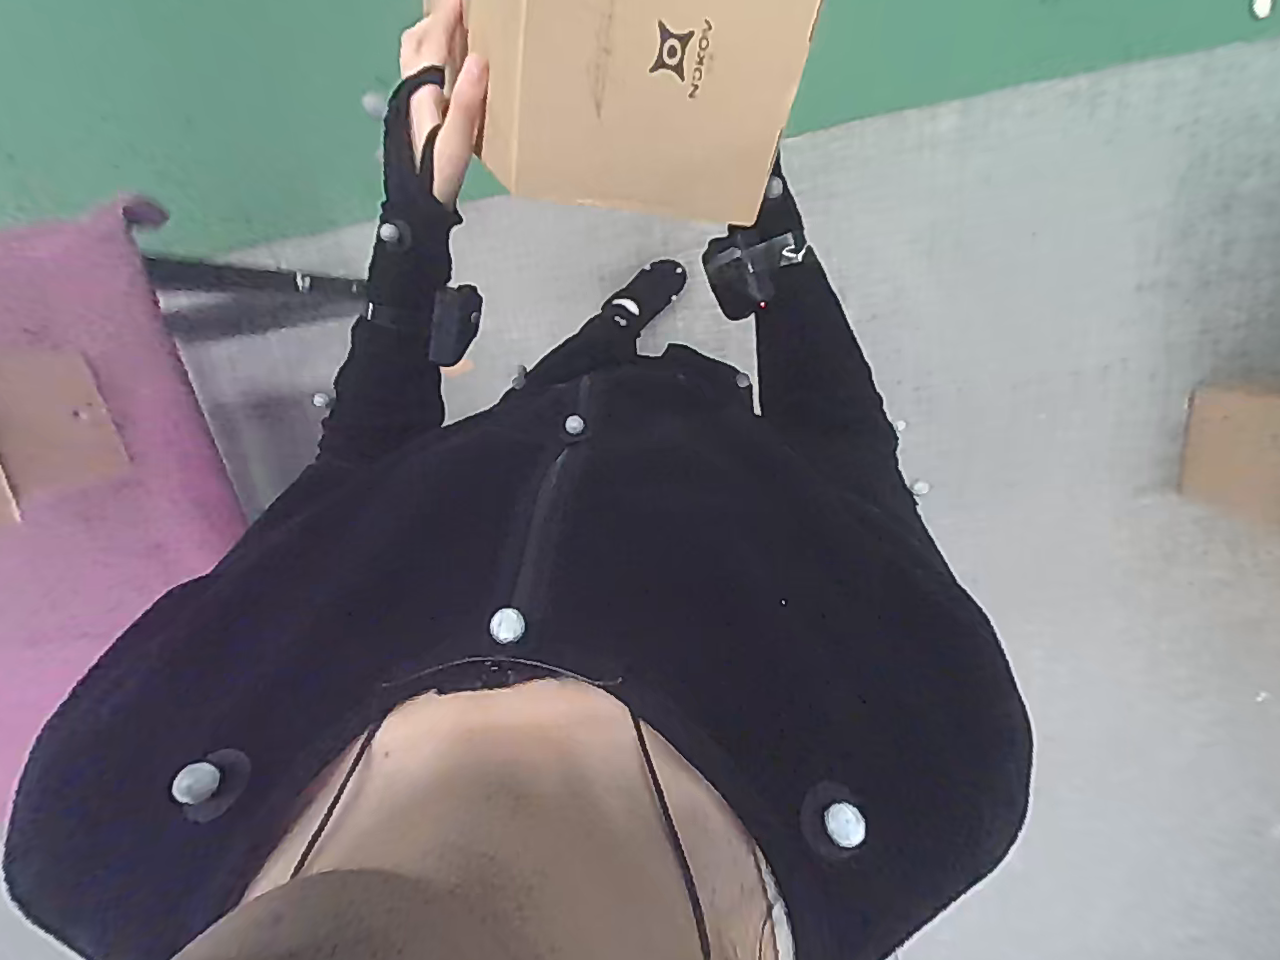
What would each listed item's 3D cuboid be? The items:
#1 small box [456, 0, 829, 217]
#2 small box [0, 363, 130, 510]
[{"bbox_3d":[-0.009,-0.287,0.342,0.179,0.176,0.168,-5,130,-26],"label":"small box"},{"bbox_3d":[-0.837,-0.053,0.700,0.168,0.176,0.179,-8,105,7],"label":"small box"}]
